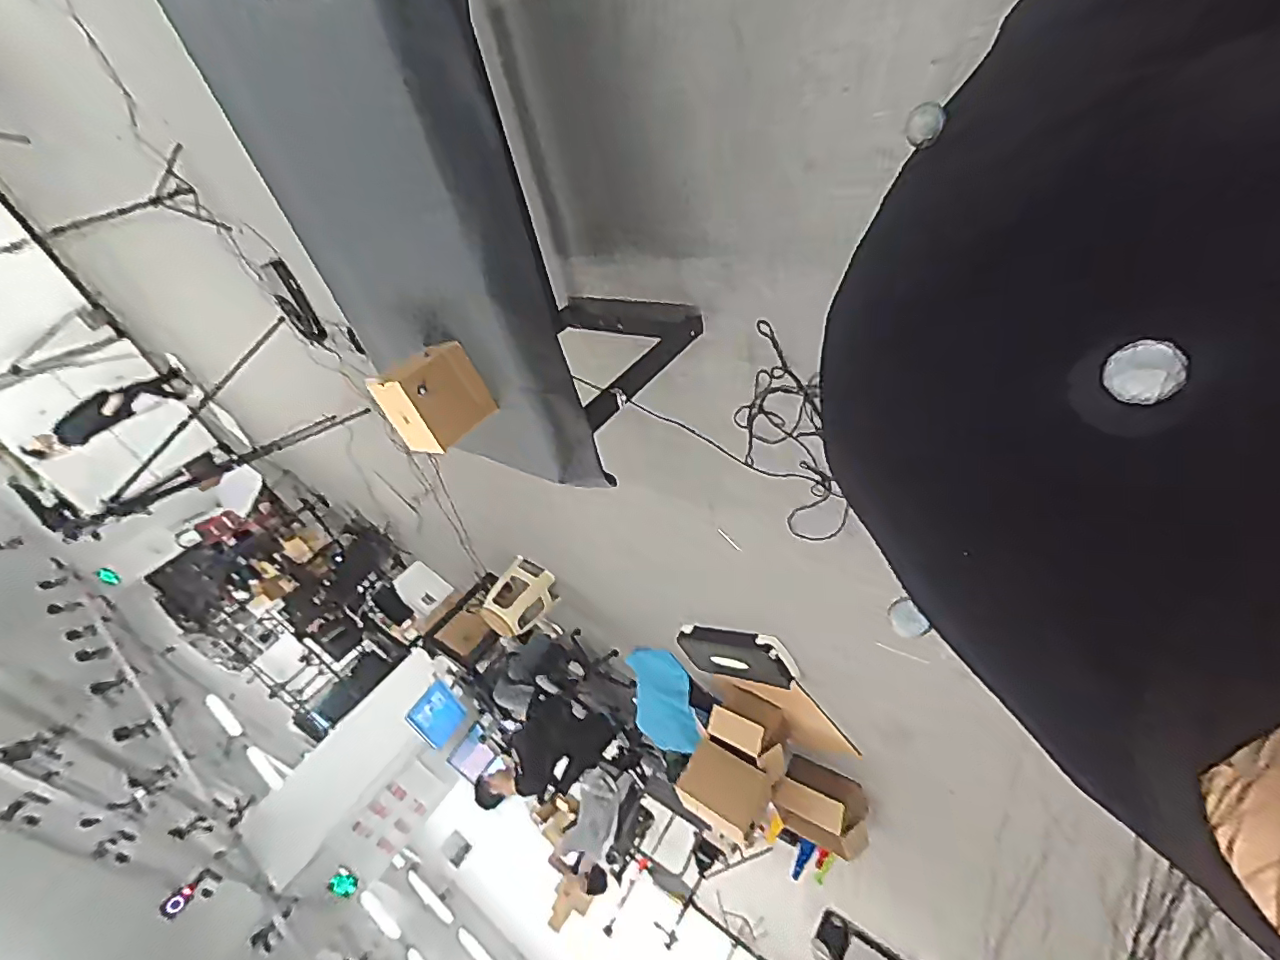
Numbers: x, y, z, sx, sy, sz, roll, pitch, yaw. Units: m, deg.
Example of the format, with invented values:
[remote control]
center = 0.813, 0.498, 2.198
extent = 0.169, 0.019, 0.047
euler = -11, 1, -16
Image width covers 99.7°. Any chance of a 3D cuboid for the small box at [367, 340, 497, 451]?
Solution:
[small box]
center = -0.449, -0.186, 1.189
extent = 0.168, 0.176, 0.179
euler = 7, 131, 43
